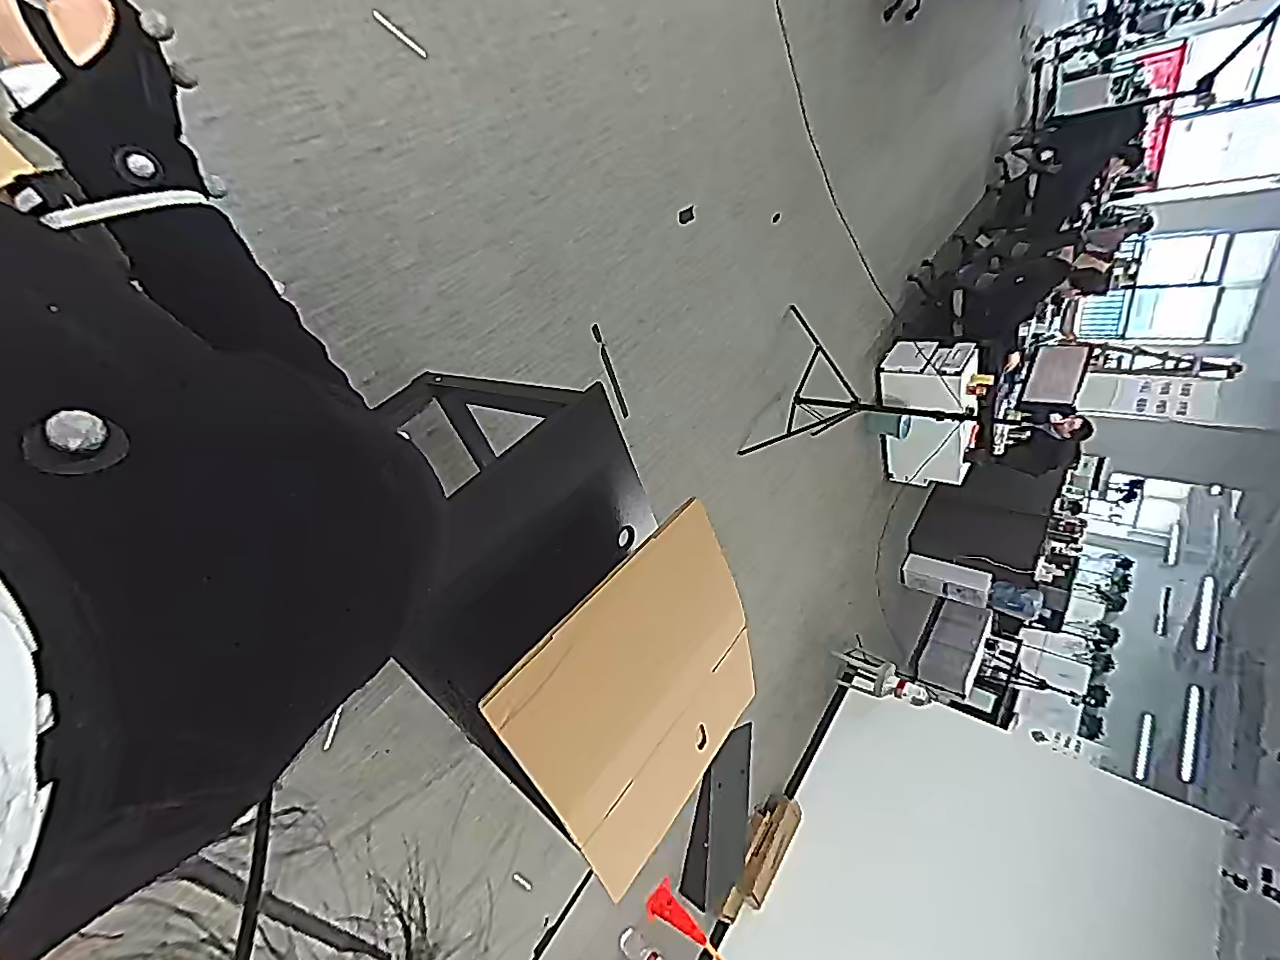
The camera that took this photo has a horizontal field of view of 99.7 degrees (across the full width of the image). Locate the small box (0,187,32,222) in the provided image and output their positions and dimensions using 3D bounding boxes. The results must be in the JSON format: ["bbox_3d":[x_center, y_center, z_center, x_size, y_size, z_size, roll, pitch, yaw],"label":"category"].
[{"bbox_3d":[-1.119,-0.476,0.837,0.179,0.176,0.168,-49,132,-27],"label":"small box"}]

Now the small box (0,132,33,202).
[{"bbox_3d":[-0.997,-0.453,0.733,0.179,0.176,0.168,-53,136,-26],"label":"small box"}]
